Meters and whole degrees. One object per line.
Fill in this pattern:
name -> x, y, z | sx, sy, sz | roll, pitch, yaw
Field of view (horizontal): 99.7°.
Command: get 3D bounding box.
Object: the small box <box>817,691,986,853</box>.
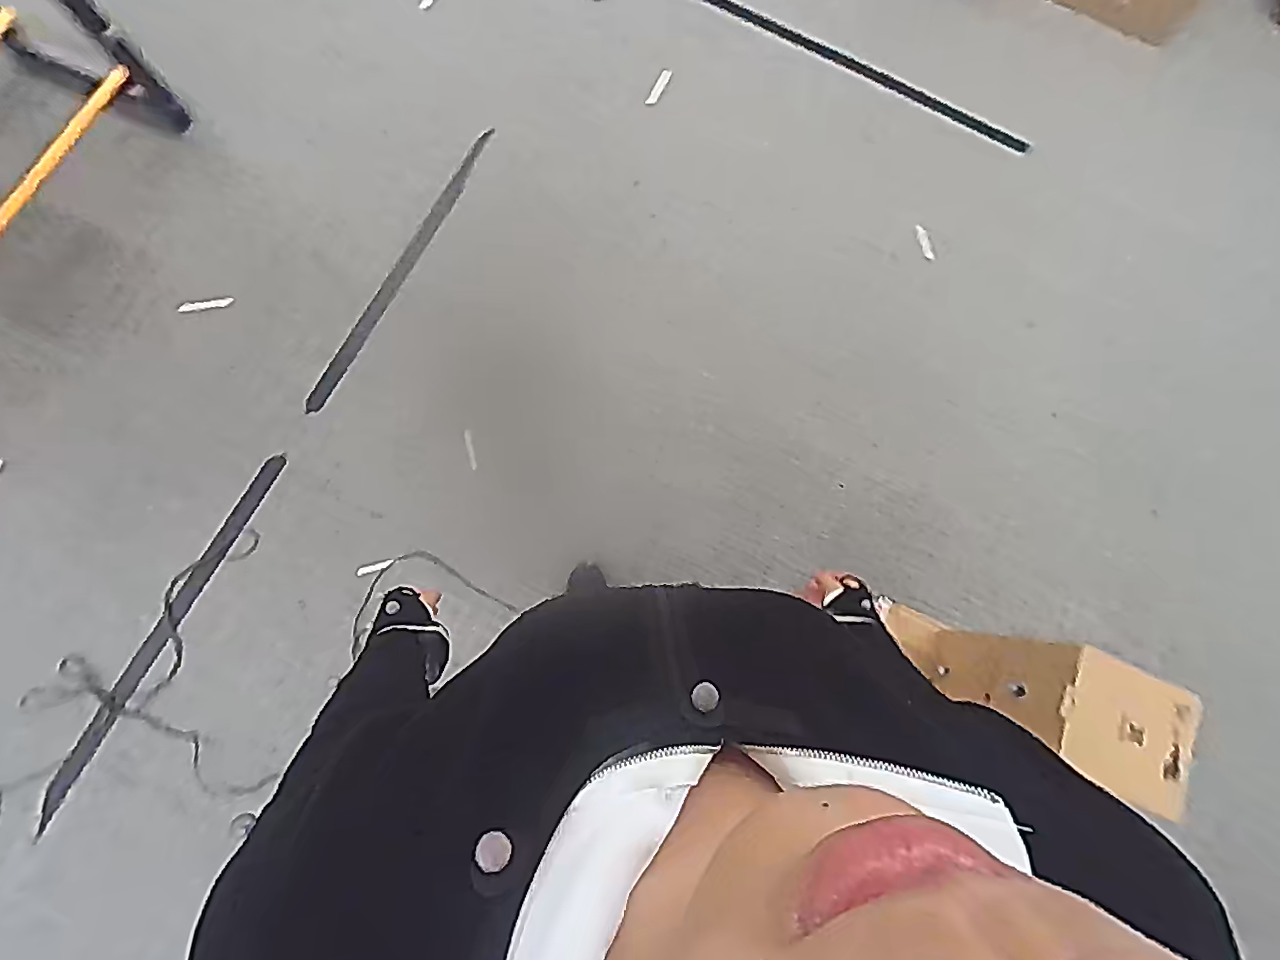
small box -> 0.434, 0.481, 0.922 | 0.179, 0.176, 0.168 | 24, 78, 3

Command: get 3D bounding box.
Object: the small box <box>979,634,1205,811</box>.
small box -> 0.643, 0.337, 0.791 | 0.179, 0.176, 0.168 | 25, 78, 3
